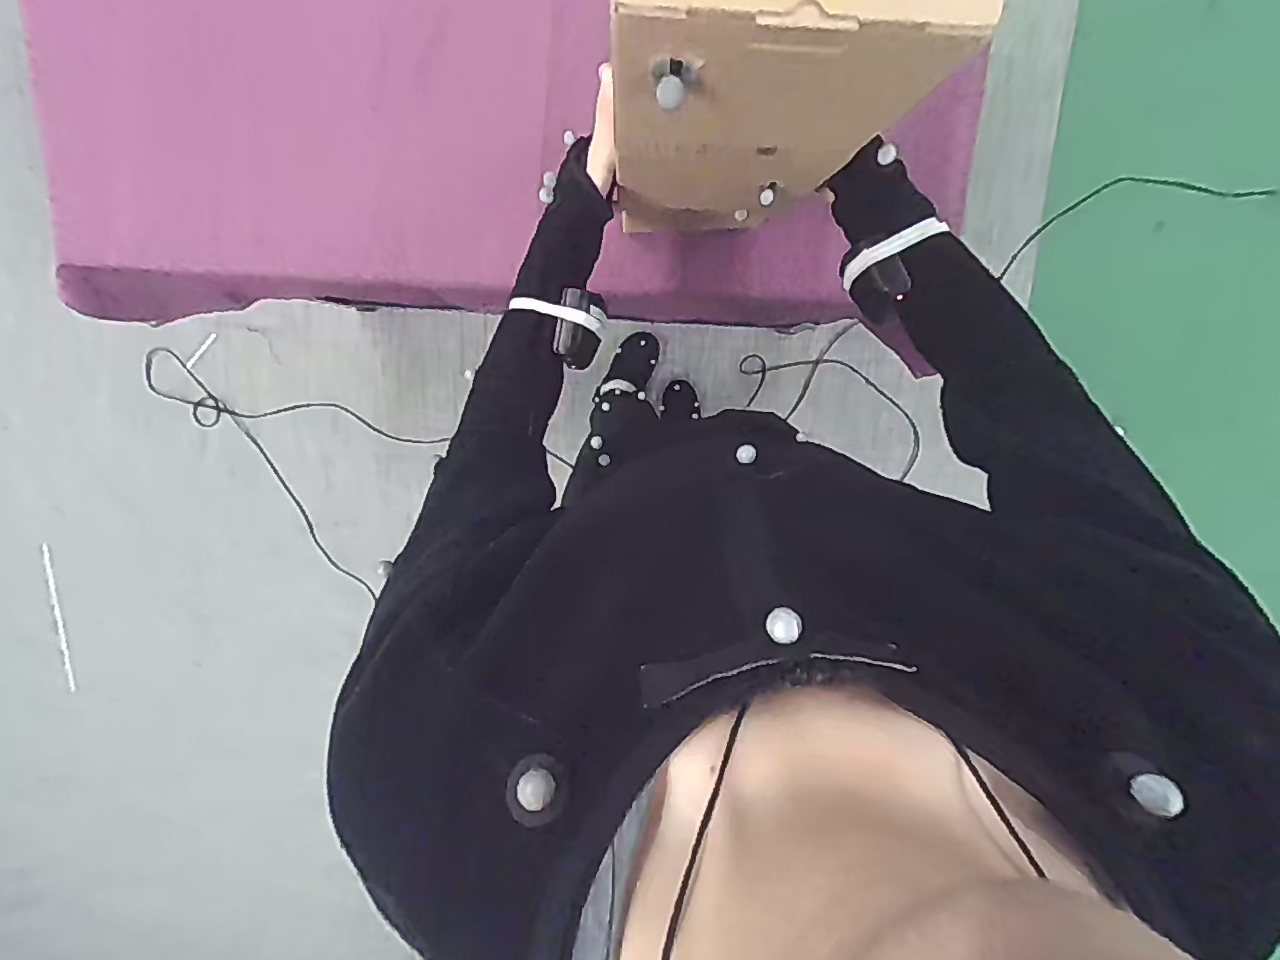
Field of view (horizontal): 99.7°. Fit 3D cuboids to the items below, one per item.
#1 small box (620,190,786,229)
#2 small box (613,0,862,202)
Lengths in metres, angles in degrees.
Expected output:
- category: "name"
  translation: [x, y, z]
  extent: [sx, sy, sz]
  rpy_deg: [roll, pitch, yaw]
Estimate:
- category: "small box"
  translation: [0.064, -0.394, 0.613]
  extent: [0.179, 0.176, 0.168]
  rpy_deg: [-2, 101, -1]
- category: "small box"
  translation: [0.067, -0.346, 0.454]
  extent: [0.179, 0.176, 0.168]
  rpy_deg: [1, 102, -1]
